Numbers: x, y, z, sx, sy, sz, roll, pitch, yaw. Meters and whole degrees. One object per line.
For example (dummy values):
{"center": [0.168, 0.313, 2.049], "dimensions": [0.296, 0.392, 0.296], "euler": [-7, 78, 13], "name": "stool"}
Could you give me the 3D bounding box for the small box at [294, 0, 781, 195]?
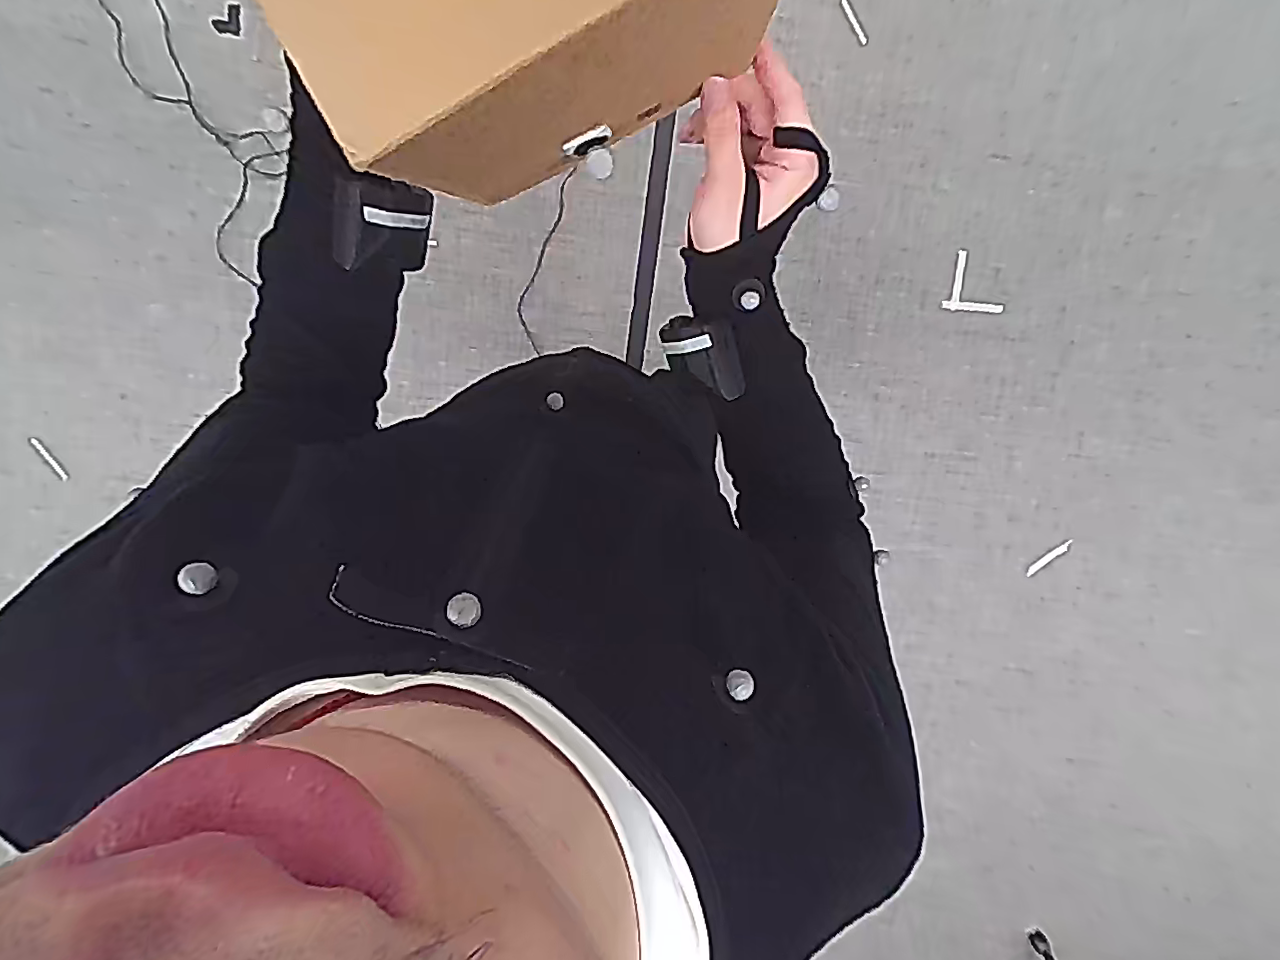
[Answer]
{"center": [-0.048, -0.244, 0.218], "dimensions": [0.168, 0.176, 0.179], "euler": [-23, 110, 12], "name": "small box"}
